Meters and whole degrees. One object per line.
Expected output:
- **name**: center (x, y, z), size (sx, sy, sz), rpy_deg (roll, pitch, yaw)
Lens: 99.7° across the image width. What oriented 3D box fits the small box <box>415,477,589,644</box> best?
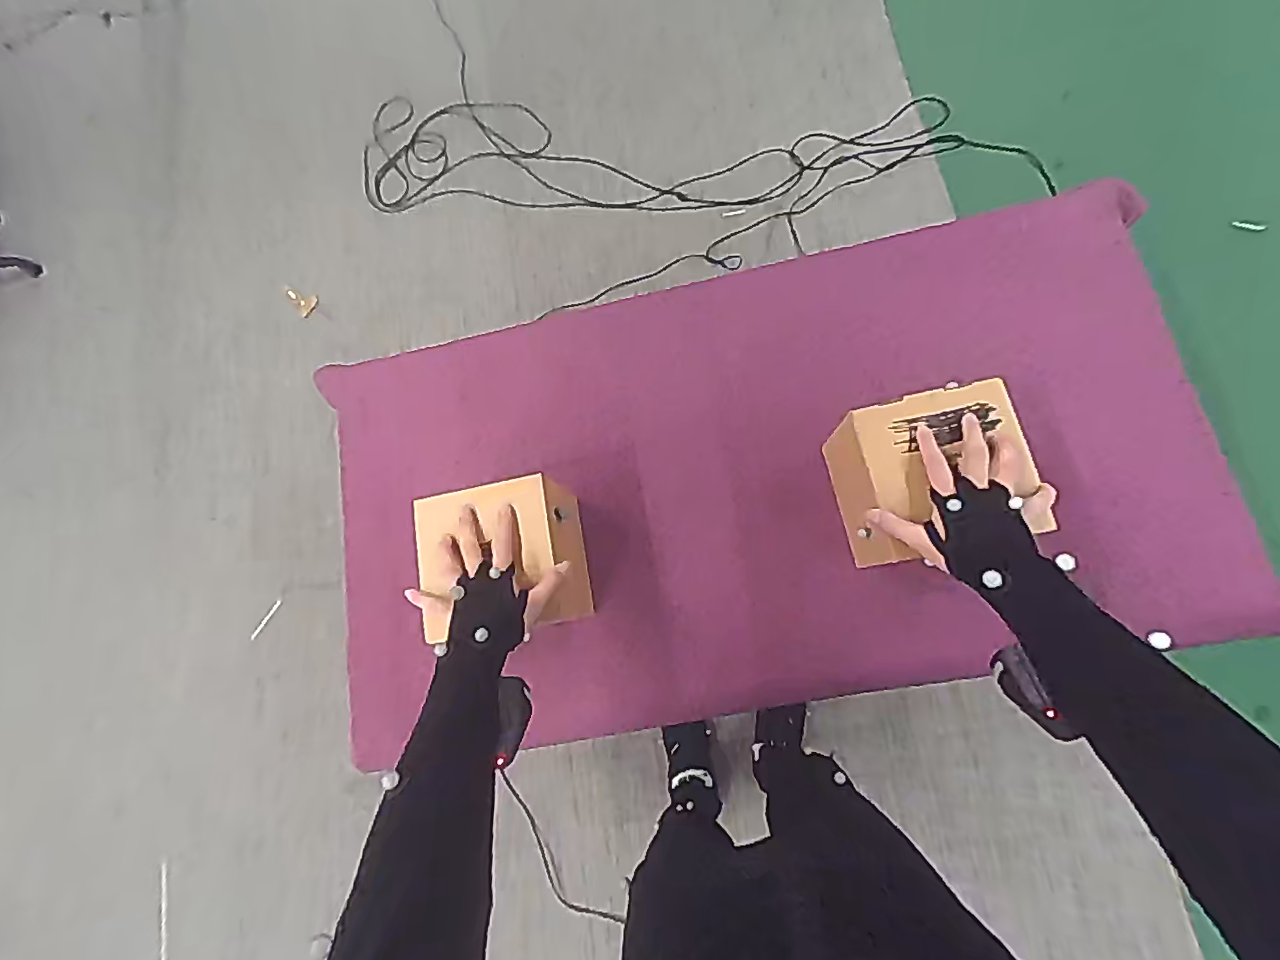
- **small box**: center (-0.174, 0.112, 0.716), size (0.168, 0.176, 0.179), rpy_deg (-12, 76, 6)
